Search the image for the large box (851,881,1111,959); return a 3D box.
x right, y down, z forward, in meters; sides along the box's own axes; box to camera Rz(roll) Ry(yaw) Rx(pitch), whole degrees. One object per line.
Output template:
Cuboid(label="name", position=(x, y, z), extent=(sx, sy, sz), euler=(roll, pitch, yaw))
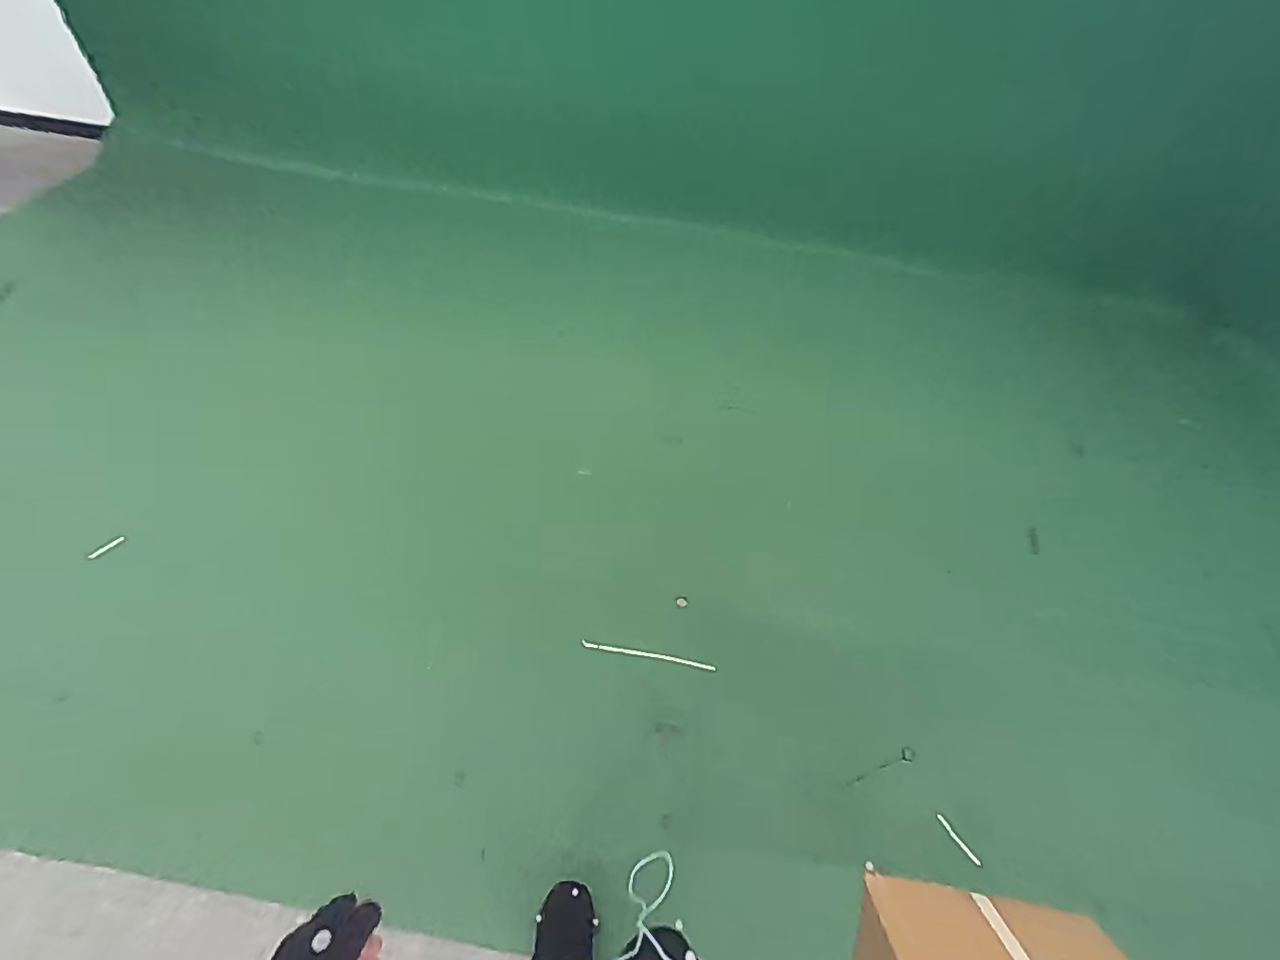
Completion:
Cuboid(label="large box", position=(0.434, 0.755, 0.582), extent=(0.320, 0.408, 0.320), euler=(9, 91, 6))
